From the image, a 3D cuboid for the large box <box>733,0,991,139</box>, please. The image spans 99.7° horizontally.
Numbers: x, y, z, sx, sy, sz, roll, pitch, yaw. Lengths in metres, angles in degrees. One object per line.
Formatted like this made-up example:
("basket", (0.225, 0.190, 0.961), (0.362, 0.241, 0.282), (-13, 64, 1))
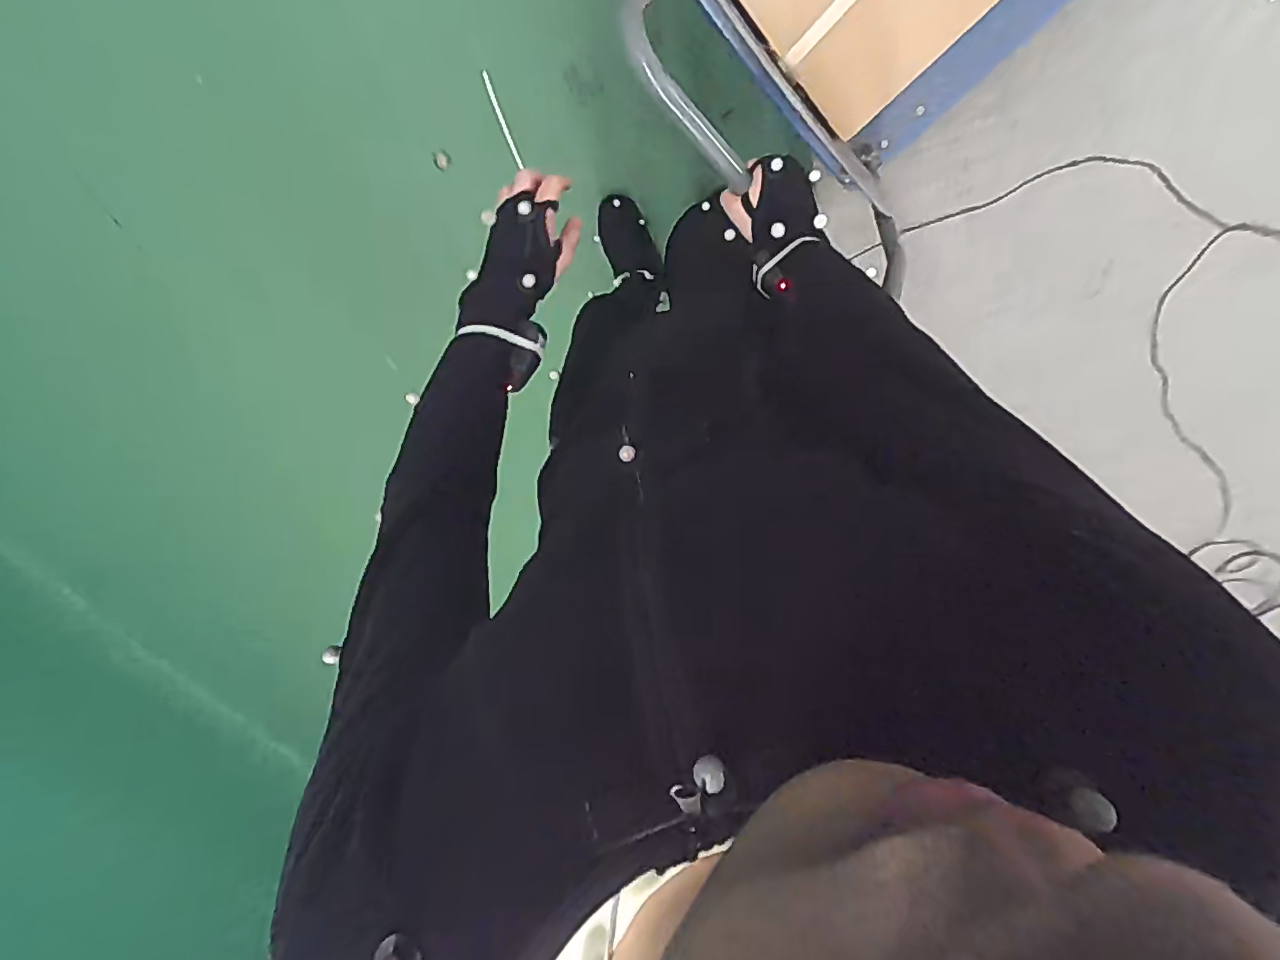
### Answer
("large box", (0.378, -0.841, 0.840), (0.320, 0.320, 0.408), (38, 127, -22))
